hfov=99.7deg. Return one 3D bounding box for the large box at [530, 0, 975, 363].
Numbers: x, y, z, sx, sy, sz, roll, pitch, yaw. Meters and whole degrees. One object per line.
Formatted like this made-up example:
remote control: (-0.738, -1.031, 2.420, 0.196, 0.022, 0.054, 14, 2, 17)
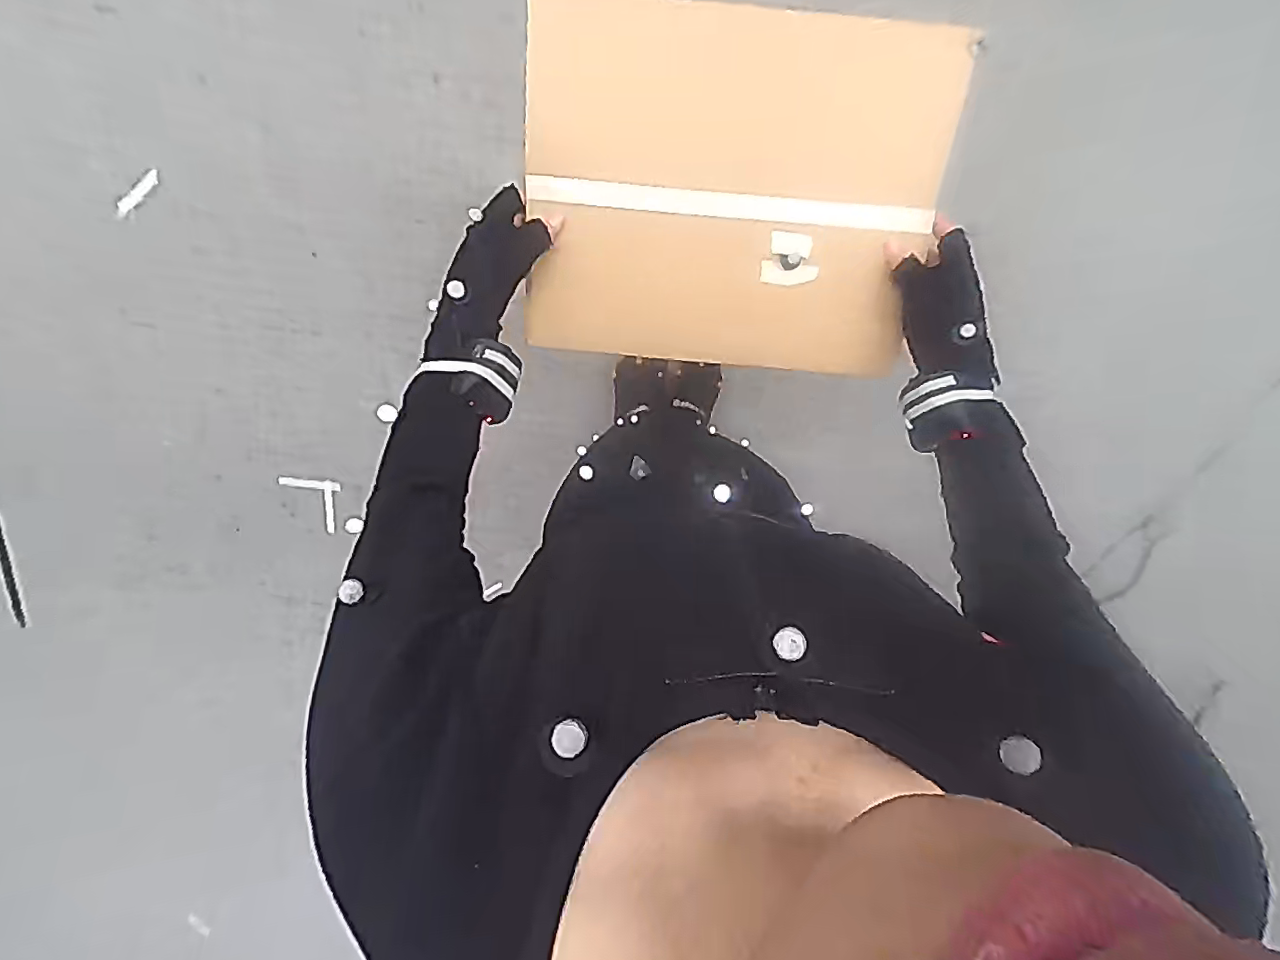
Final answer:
large box: (0.091, -0.336, 0.669, 0.408, 0.320, 0.320, 4, 113, -2)
